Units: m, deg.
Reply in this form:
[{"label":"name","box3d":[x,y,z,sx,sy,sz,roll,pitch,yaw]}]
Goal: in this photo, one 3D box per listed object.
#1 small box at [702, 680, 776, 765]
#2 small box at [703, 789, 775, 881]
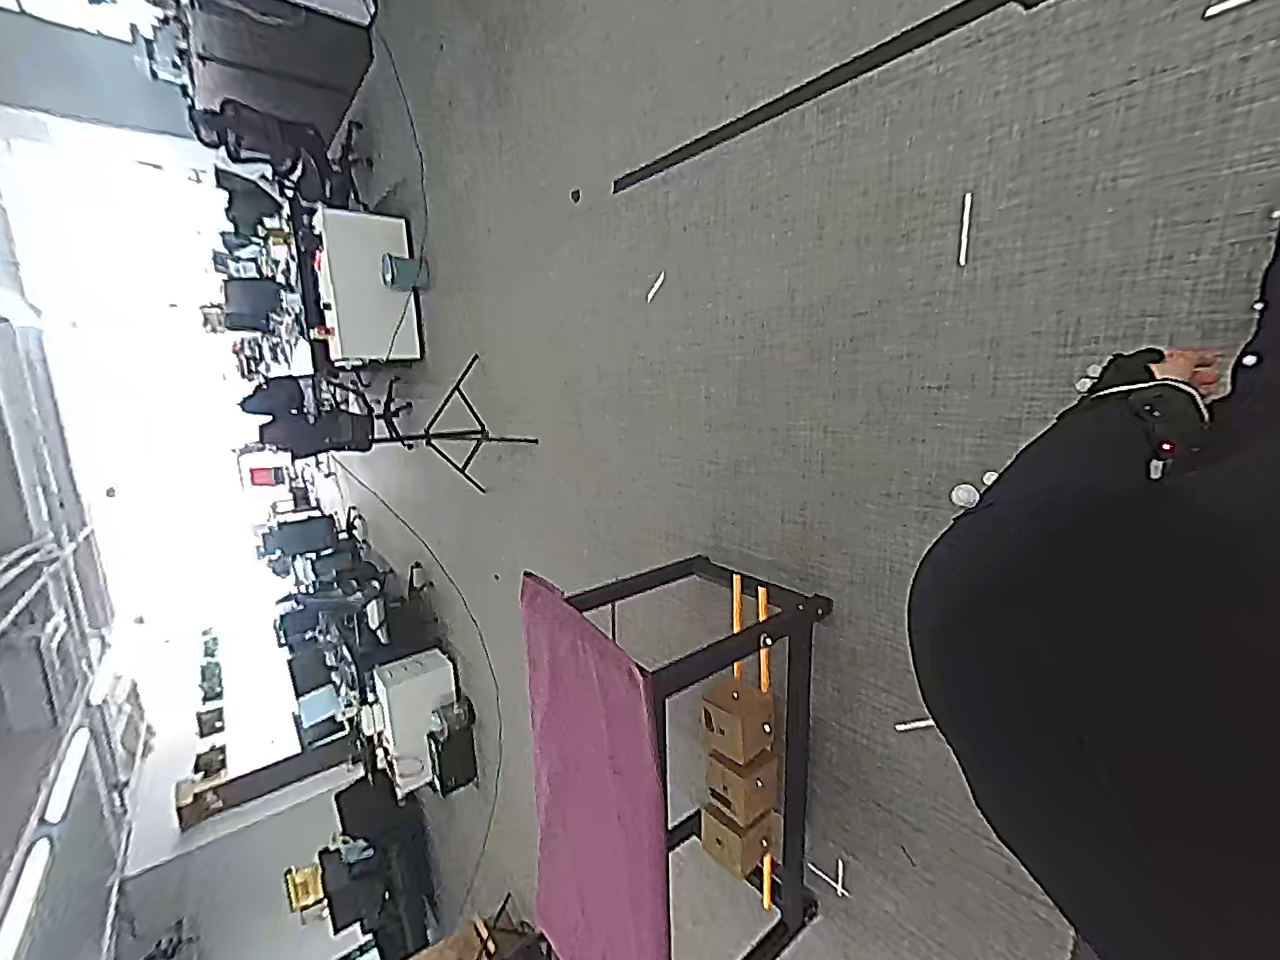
[{"label":"small box","box3d":[0.321,0.775,1.755,0.179,0.176,0.168,8,106,48]},{"label":"small box","box3d":[0.335,1.193,1.837,0.179,0.176,0.168,11,107,48]}]
